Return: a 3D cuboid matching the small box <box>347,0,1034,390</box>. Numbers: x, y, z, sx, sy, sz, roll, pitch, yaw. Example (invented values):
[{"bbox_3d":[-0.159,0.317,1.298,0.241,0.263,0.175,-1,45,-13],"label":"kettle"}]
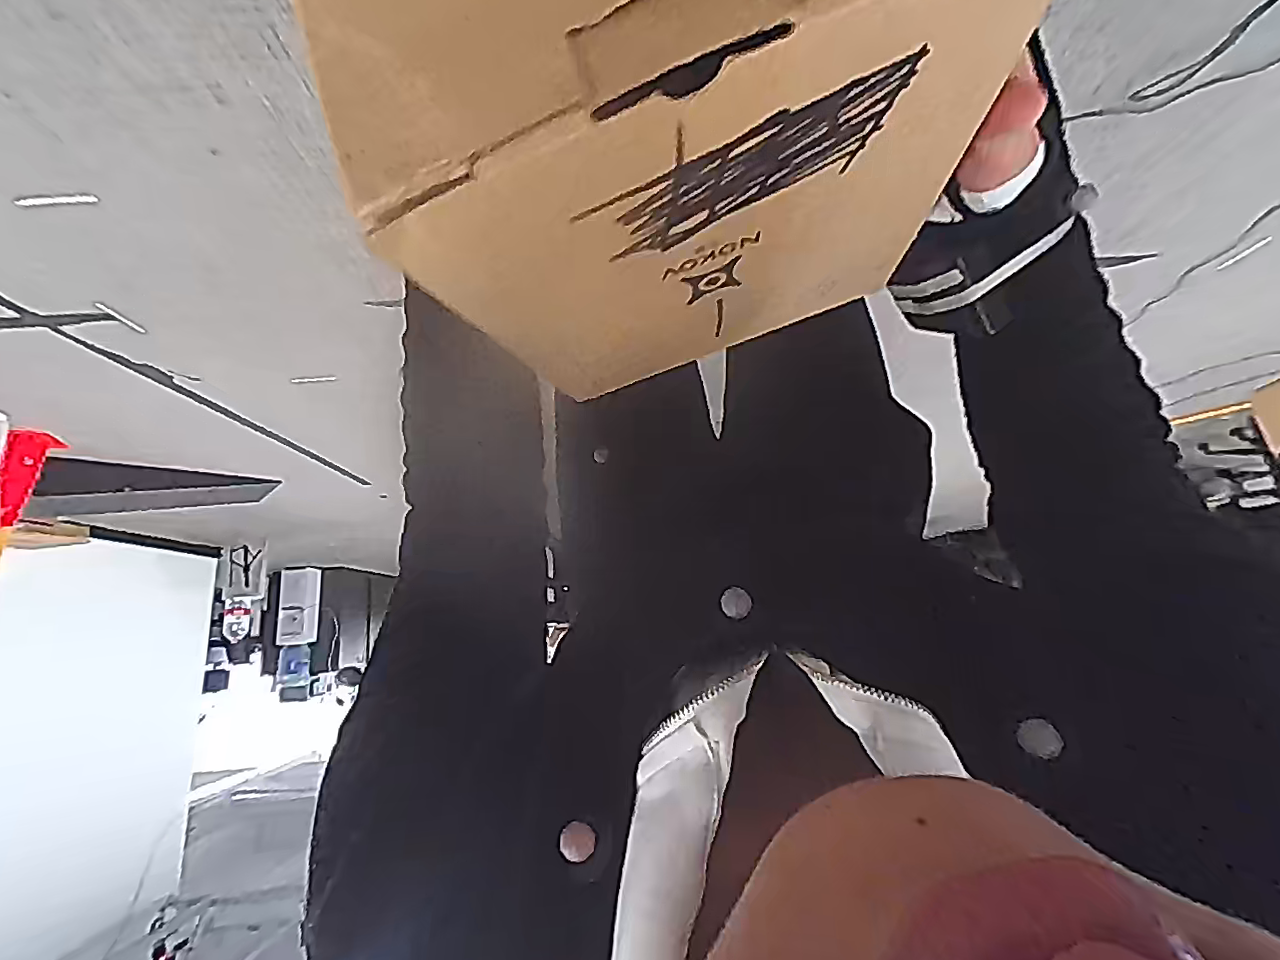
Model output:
[{"bbox_3d":[0.003,-0.160,0.211,0.168,0.176,0.179,-19,172,8],"label":"small box"}]
